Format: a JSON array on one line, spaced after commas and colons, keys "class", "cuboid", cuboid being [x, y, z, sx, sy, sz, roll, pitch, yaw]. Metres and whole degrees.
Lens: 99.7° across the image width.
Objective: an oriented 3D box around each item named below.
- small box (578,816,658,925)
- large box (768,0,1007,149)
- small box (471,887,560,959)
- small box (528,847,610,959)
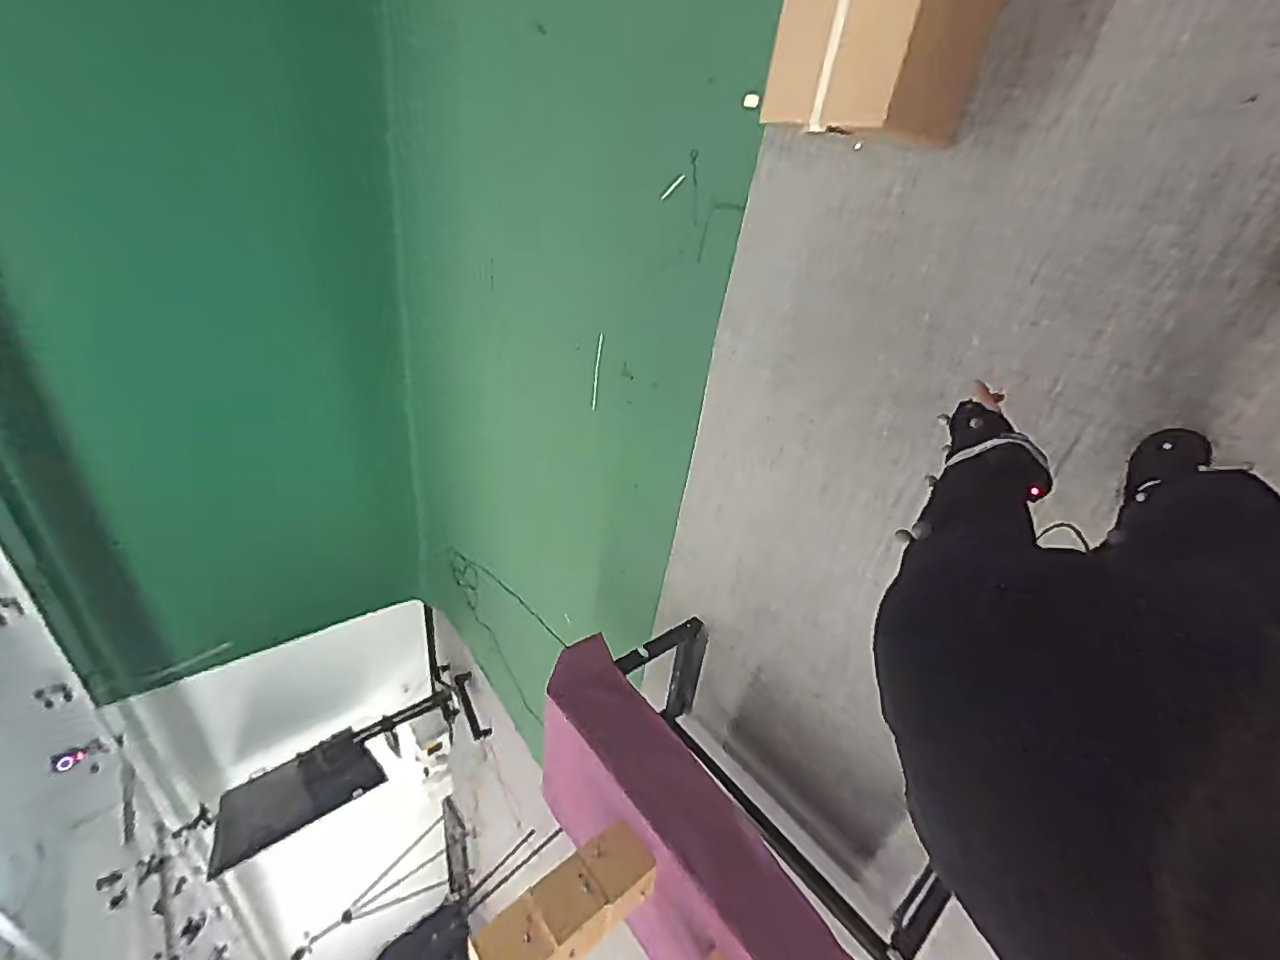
[{"class": "small box", "cuboid": [-0.071, 1.136, 1.593, 0.179, 0.176, 0.168, 34, 129, 40]}, {"class": "large box", "cuboid": [0.526, -0.952, 1.131, 0.320, 0.320, 0.408, 37, 129, 39]}, {"class": "small box", "cuboid": [-0.319, 1.222, 1.400, 0.168, 0.176, 0.179, 30, 125, 42]}, {"class": "small box", "cuboid": [-0.196, 1.177, 1.496, 0.168, 0.176, 0.179, 33, 127, 40]}]
